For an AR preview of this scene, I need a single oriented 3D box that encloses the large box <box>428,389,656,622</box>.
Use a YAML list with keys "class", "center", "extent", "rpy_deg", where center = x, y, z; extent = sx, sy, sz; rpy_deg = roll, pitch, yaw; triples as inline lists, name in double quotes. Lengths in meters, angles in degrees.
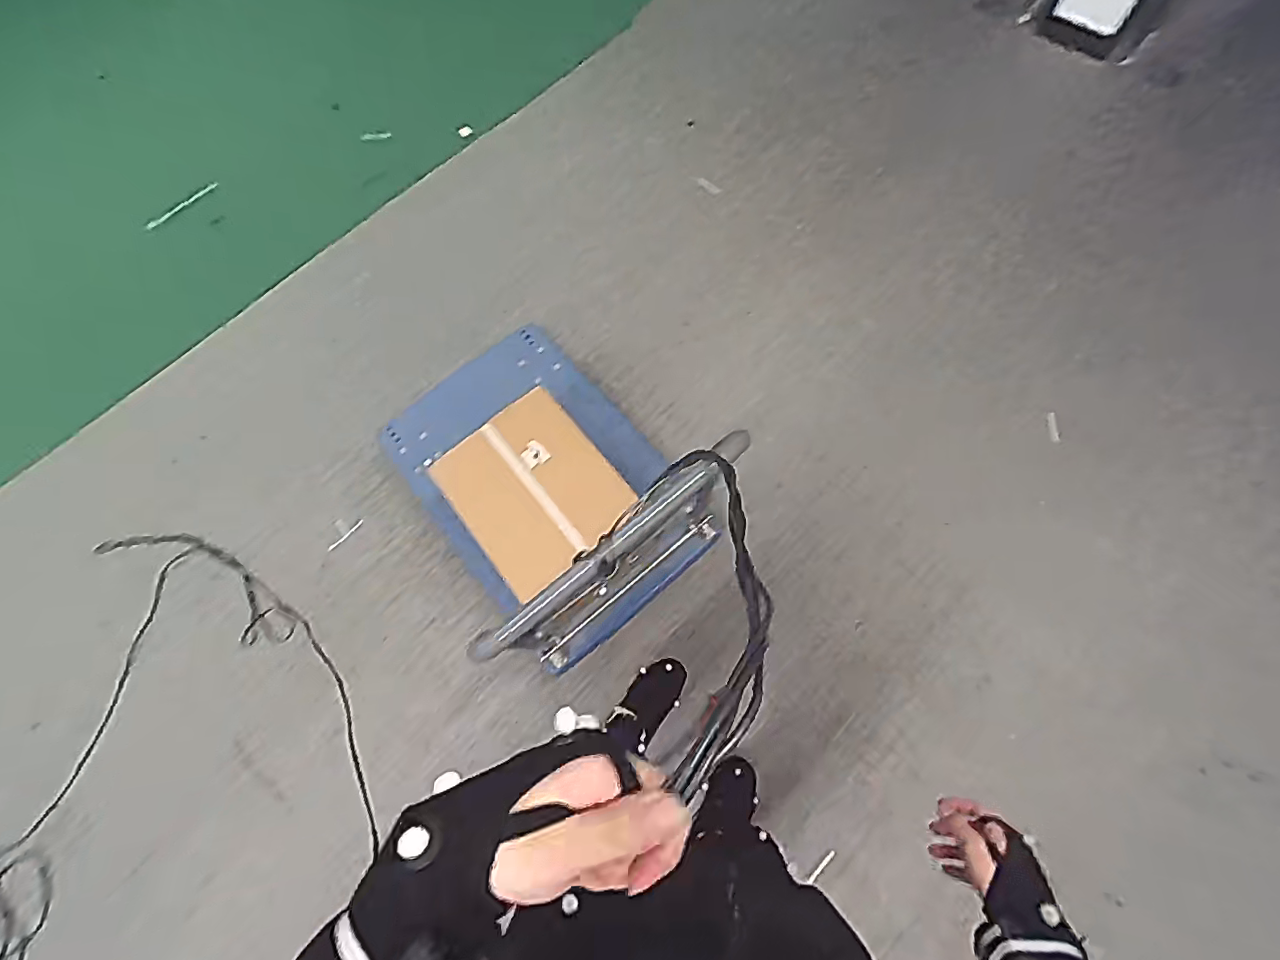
- class: "large box"
  center: [-0.209, 0.074, 1.277]
  extent: [0.320, 0.320, 0.408]
  rpy_deg: [-38, 72, -10]
